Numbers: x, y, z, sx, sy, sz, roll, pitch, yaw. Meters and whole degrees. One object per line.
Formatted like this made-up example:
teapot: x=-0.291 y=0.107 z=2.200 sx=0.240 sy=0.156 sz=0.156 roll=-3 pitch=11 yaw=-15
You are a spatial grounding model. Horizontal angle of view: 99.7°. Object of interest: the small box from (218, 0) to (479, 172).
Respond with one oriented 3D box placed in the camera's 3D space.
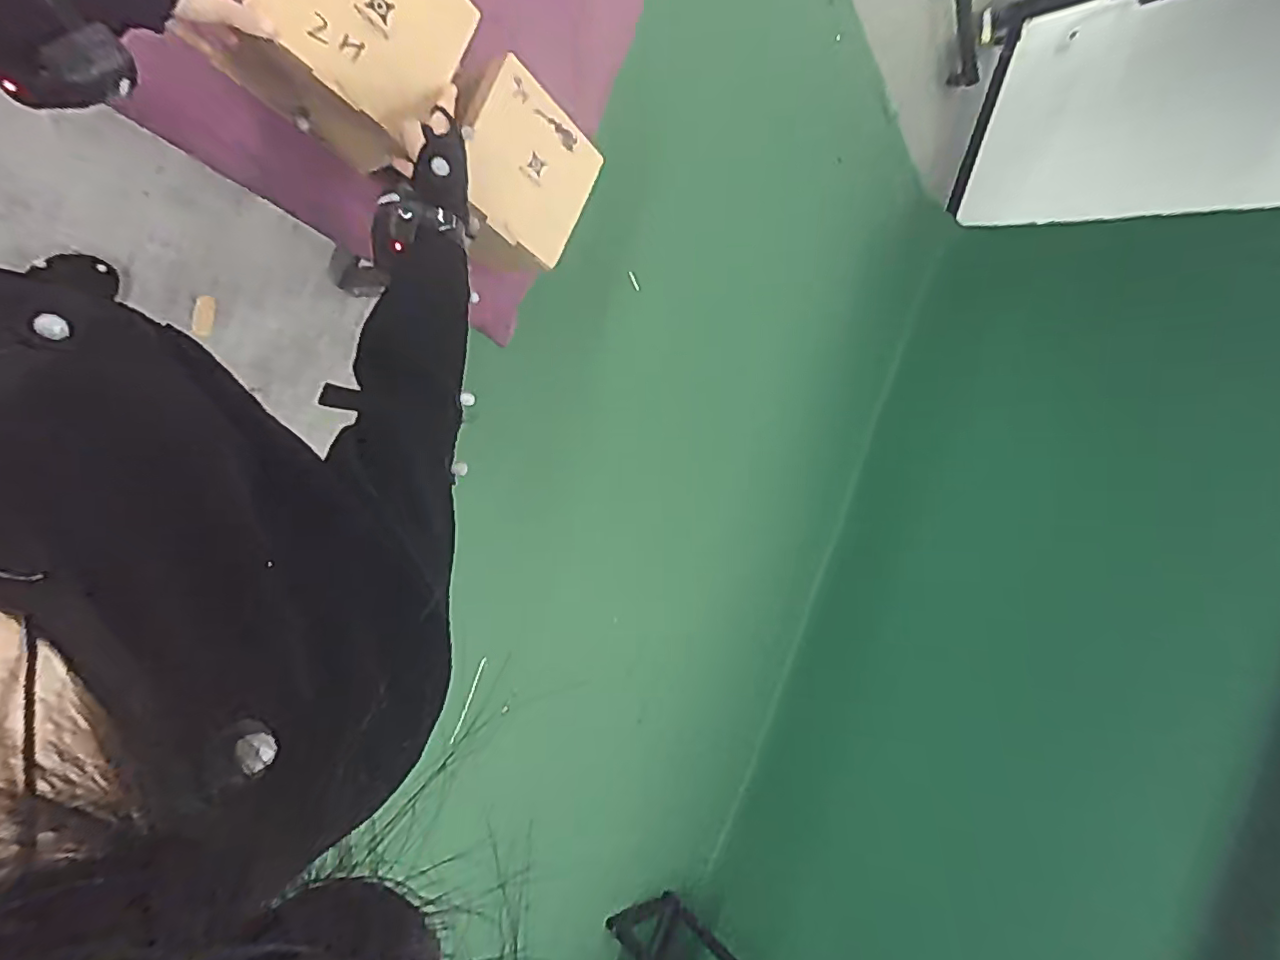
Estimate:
small box: x=-0.311 y=-0.464 z=0.572 sx=0.168 sy=0.176 sz=0.179 roll=28 pitch=86 yaw=-47
